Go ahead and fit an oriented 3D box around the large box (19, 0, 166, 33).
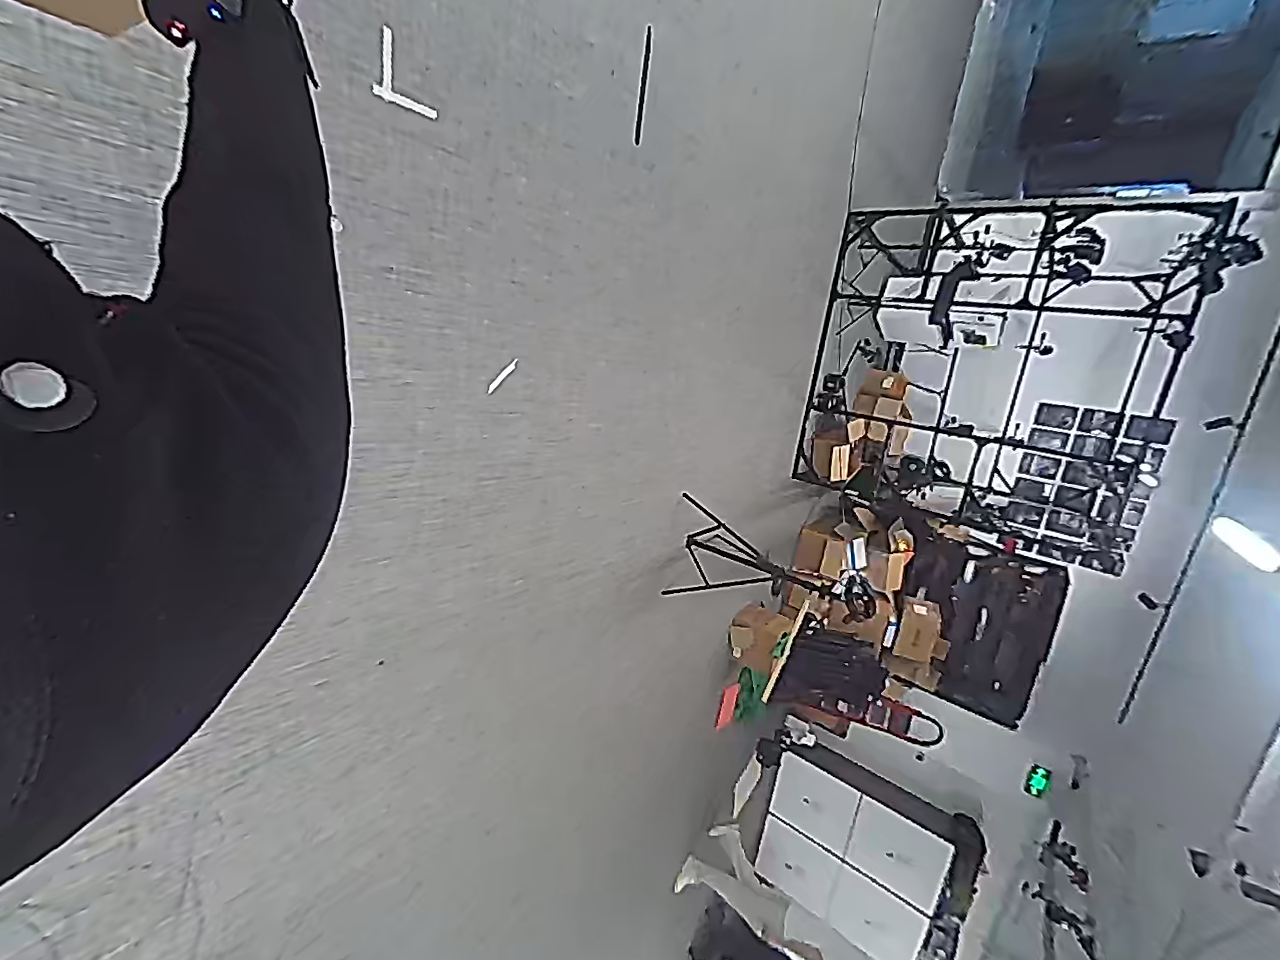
[{"bbox_3d":[-0.533,-0.534,0.287,0.408,0.320,0.320,-9,118,-51],"label":"large box"}]
